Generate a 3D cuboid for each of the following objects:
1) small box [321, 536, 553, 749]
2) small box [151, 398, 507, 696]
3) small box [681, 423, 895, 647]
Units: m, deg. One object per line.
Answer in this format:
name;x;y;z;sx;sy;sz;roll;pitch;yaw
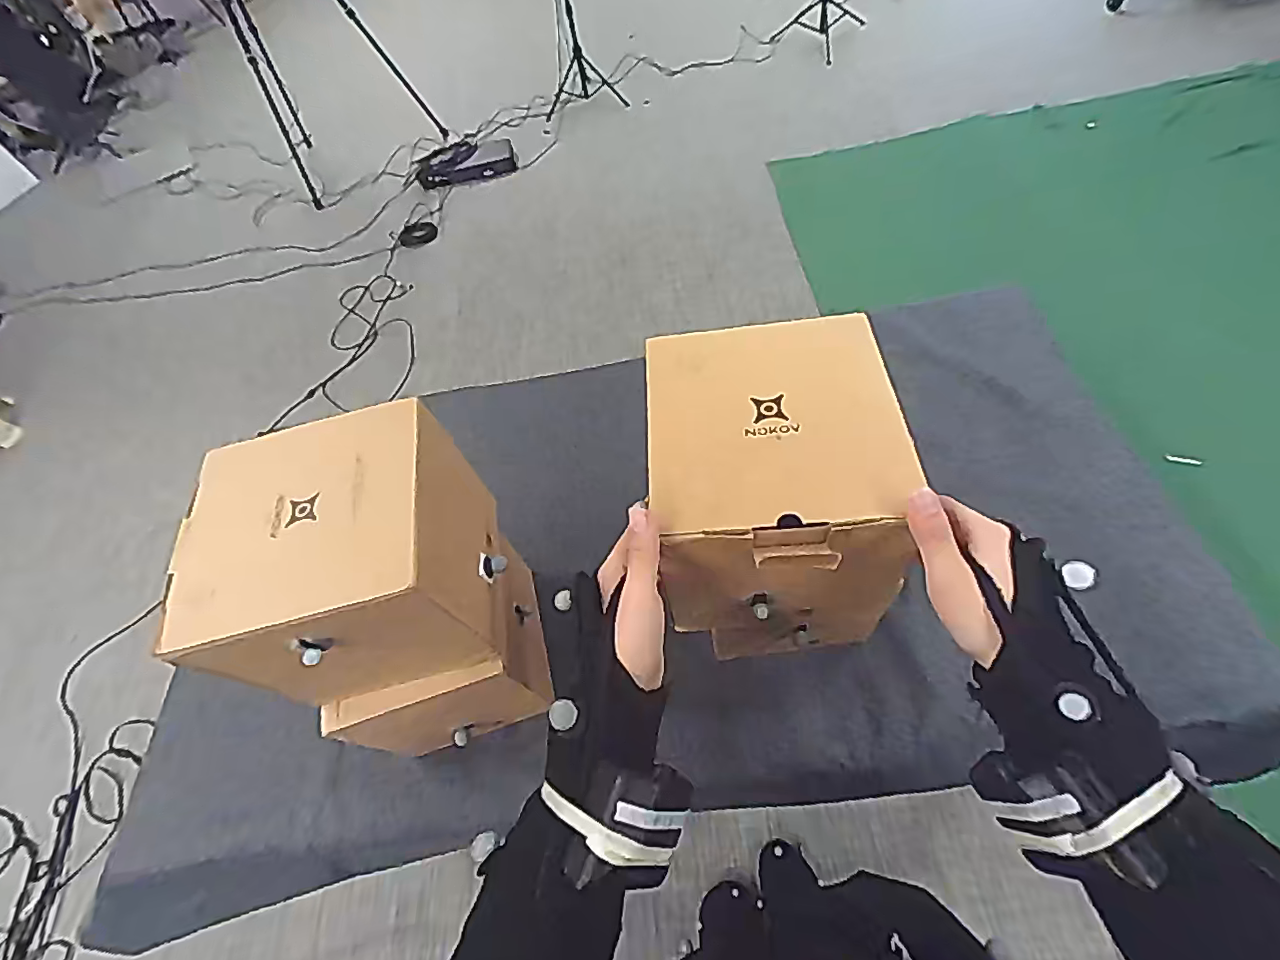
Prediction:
small box;-0.204;0.163;0.574;0.168;0.176;0.179;-18;57;-2
small box;-0.225;0.064;0.446;0.179;0.176;0.168;-14;57;0
small box;0.143;0.069;0.575;0.168;0.176;0.179;-10;57;4
